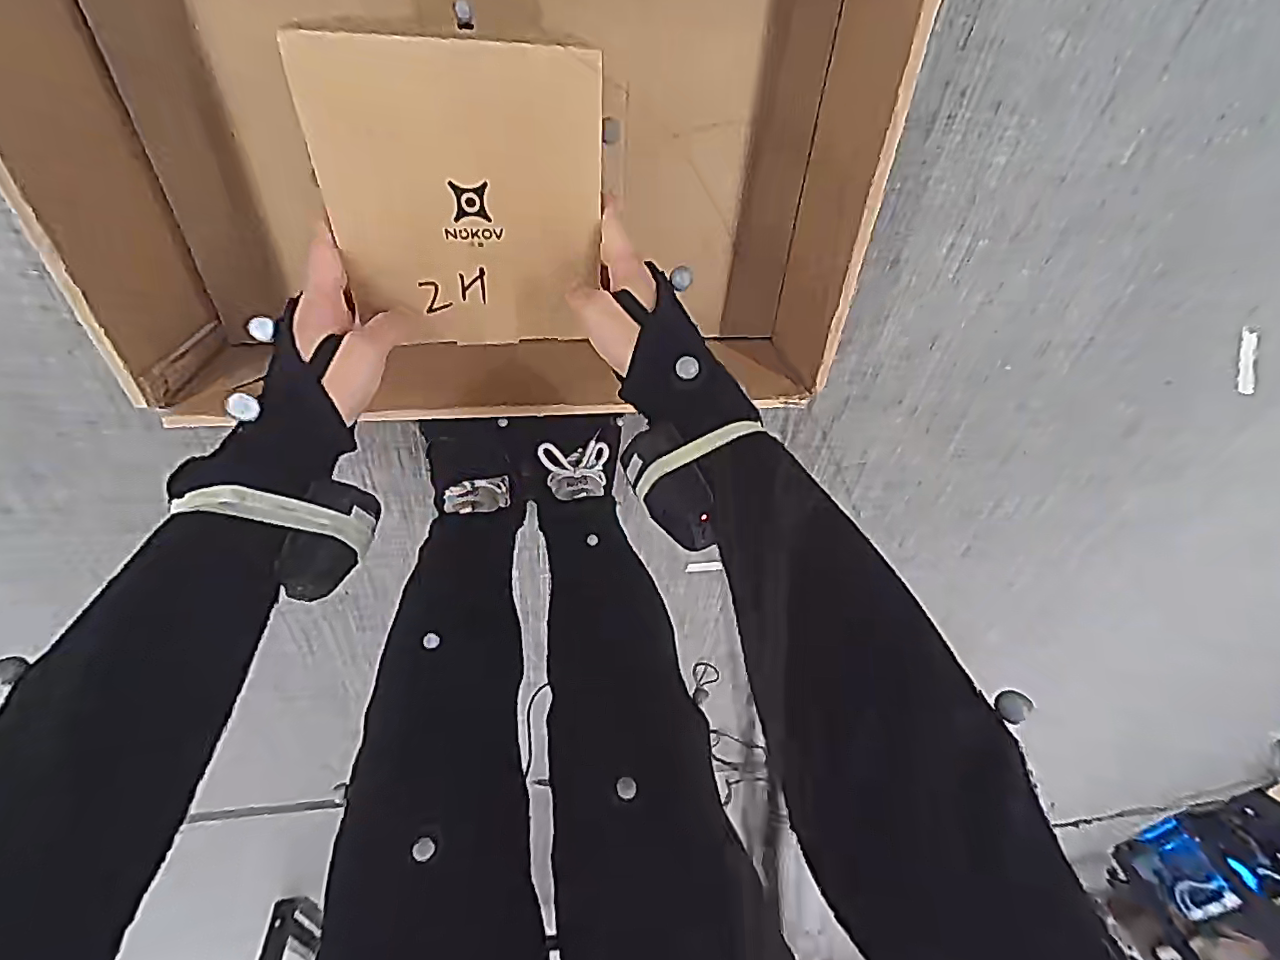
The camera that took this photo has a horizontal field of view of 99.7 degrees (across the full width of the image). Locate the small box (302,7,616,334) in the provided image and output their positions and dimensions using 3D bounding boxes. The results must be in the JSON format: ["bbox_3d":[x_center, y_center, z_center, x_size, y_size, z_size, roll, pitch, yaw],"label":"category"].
[{"bbox_3d":[-0.115,-0.227,0.399,0.168,0.176,0.179,-4,133,-11],"label":"small box"}]
